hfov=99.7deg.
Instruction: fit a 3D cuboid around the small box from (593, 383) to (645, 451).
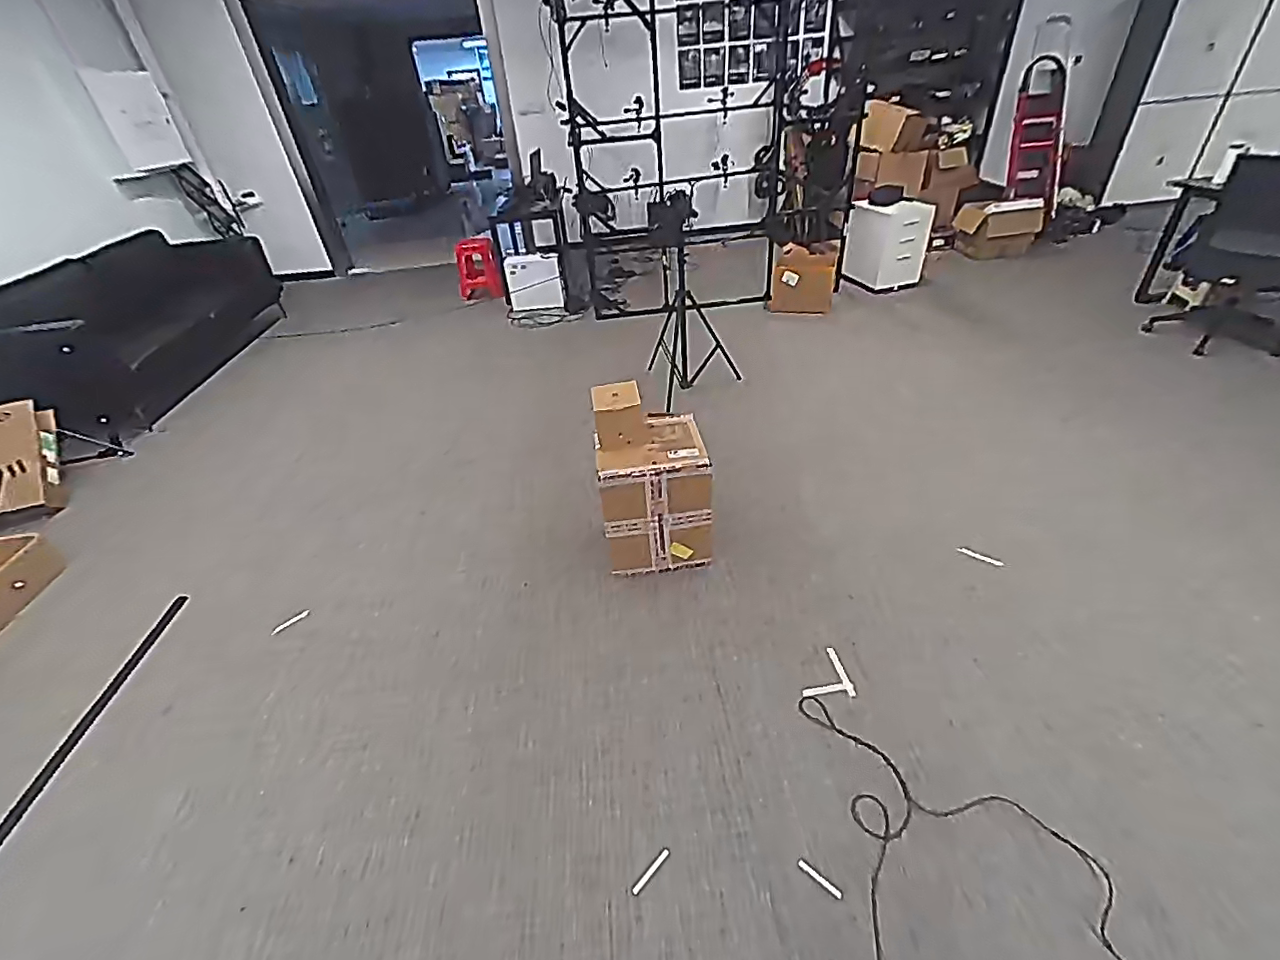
[{"bbox_3d":[-0.076,-0.228,1.951,0.168,0.176,0.179,-9,39,-1],"label":"small box"}]
